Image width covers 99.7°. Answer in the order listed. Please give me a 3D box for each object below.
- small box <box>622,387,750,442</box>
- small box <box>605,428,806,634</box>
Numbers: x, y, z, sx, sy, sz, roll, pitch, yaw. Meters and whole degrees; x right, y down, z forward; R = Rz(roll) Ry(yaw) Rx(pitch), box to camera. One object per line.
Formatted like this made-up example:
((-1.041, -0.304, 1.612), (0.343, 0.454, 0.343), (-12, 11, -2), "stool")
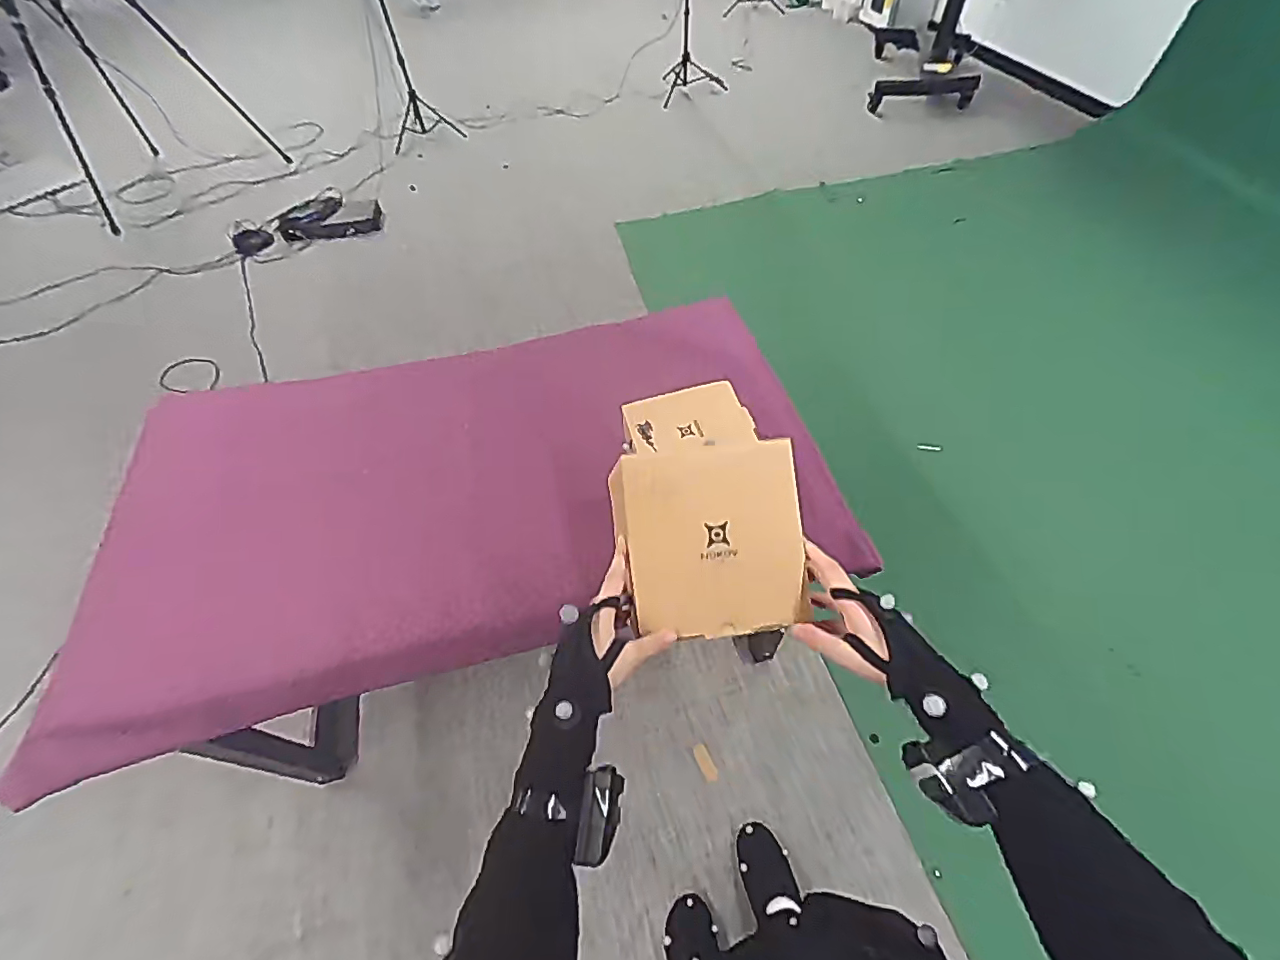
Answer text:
((0.078, -0.016, 0.844), (0.179, 0.176, 0.168), (-13, 51, -6), "small box")
((0.055, 0.051, 0.574), (0.168, 0.176, 0.179), (-6, 87, -7), "small box")
